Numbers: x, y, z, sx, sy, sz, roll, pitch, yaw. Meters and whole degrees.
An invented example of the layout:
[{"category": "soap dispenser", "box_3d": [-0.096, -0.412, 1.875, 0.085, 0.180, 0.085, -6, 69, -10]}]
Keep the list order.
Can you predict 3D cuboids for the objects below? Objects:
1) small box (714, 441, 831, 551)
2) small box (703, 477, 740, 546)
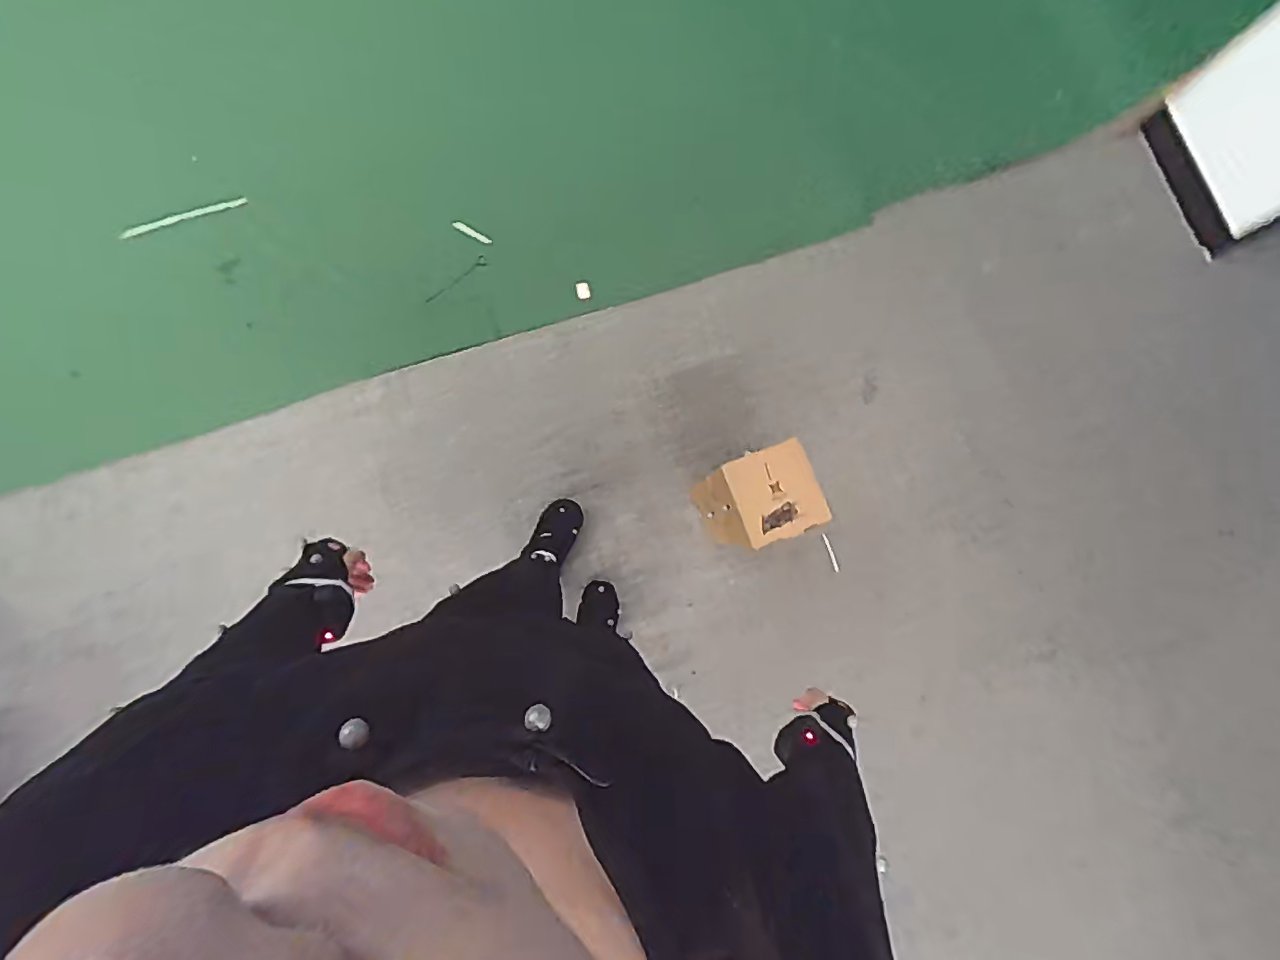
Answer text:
[{"category": "small box", "box_3d": [0.264, 0.037, 1.118, 0.168, 0.176, 0.179, -20, 84, -3]}, {"category": "small box", "box_3d": [0.265, 0.048, 1.282, 0.179, 0.176, 0.168, -22, 83, -2]}]
